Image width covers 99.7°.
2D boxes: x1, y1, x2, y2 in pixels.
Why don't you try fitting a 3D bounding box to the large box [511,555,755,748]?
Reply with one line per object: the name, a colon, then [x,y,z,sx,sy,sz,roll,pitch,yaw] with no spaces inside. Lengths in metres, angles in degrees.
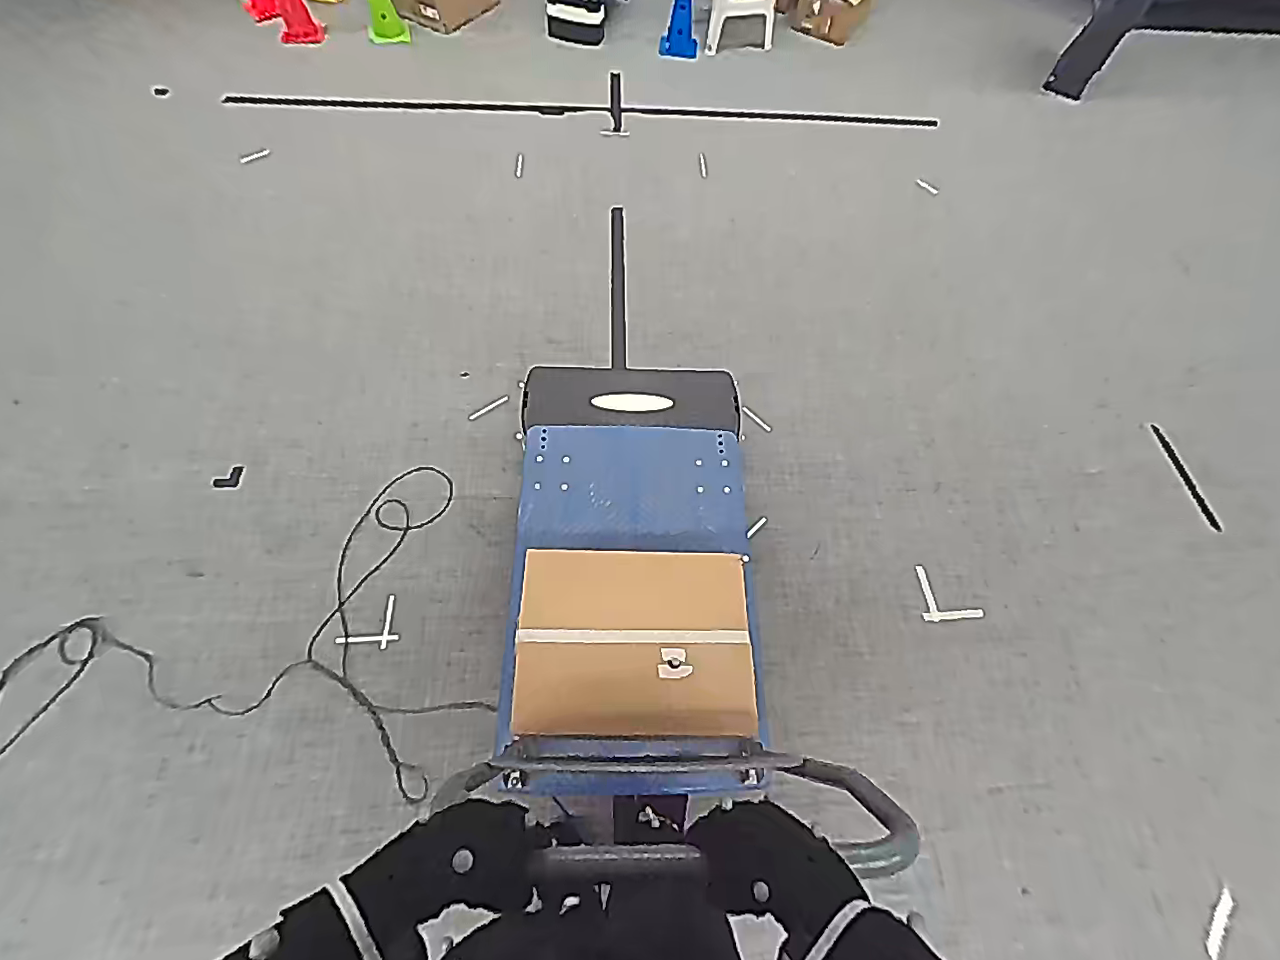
large box: [-0.023,0.348,1.066,0.408,0.320,0.320,2,63,-4]
